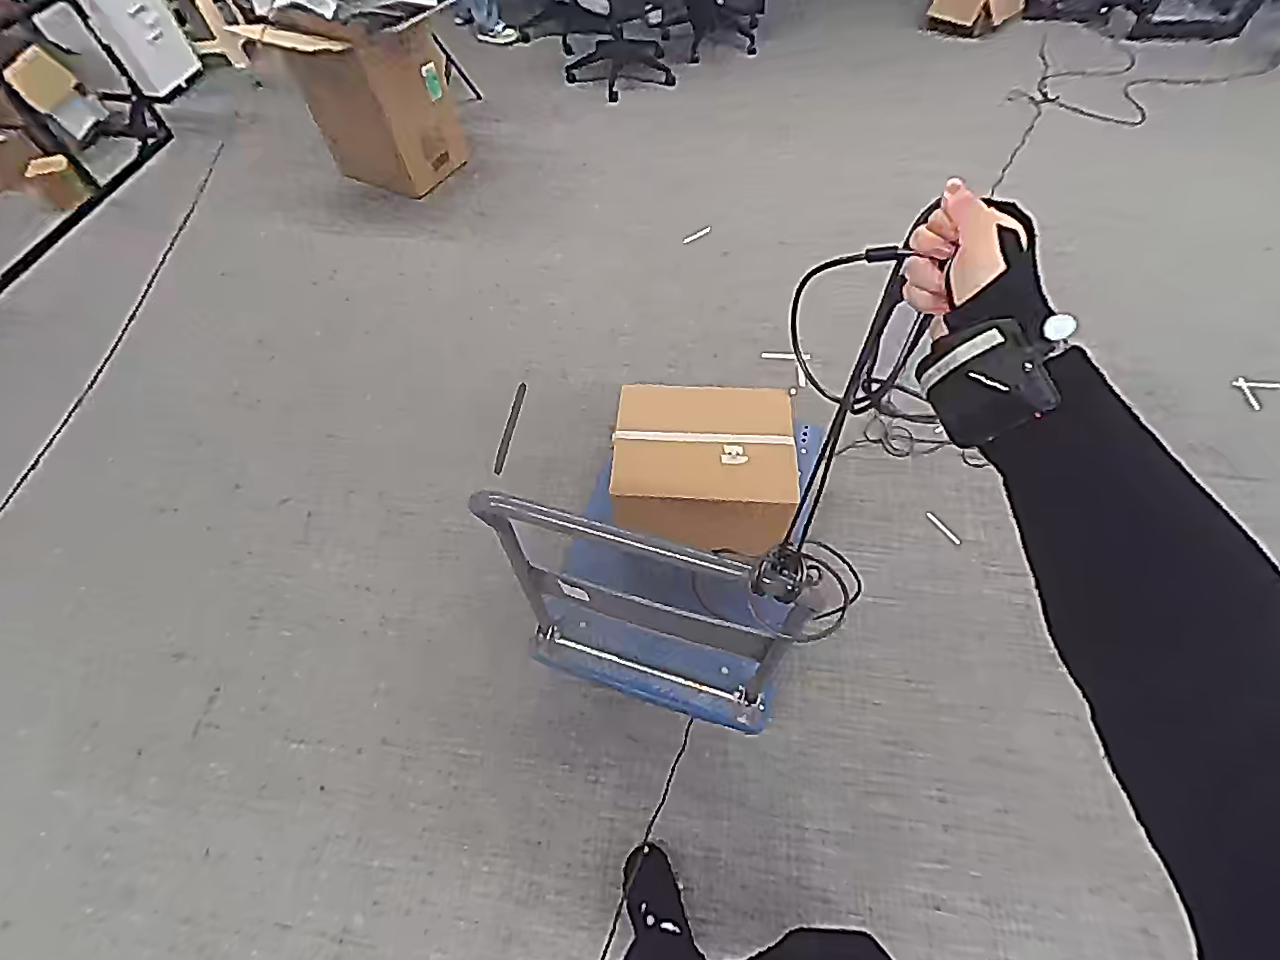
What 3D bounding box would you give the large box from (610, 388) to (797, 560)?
[{"bbox_3d":[0.143,-0.008,1.342,0.408,0.320,0.320,3,59,4],"label":"large box"}]
